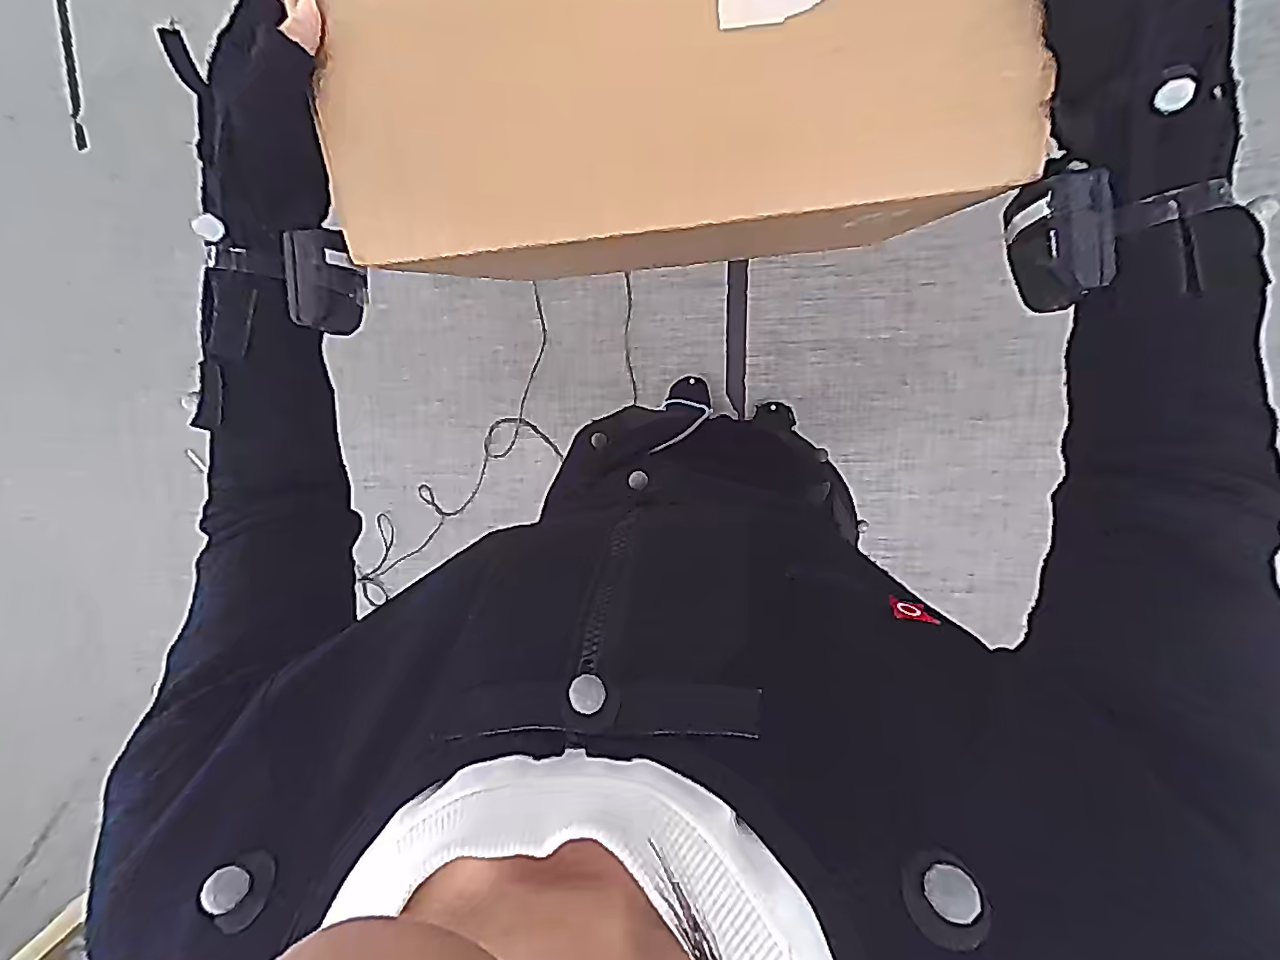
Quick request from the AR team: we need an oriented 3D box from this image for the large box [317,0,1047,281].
[{"bbox_3d":[0.023,-0.350,0.425,0.408,0.320,0.320,-4,108,9],"label":"large box"}]
